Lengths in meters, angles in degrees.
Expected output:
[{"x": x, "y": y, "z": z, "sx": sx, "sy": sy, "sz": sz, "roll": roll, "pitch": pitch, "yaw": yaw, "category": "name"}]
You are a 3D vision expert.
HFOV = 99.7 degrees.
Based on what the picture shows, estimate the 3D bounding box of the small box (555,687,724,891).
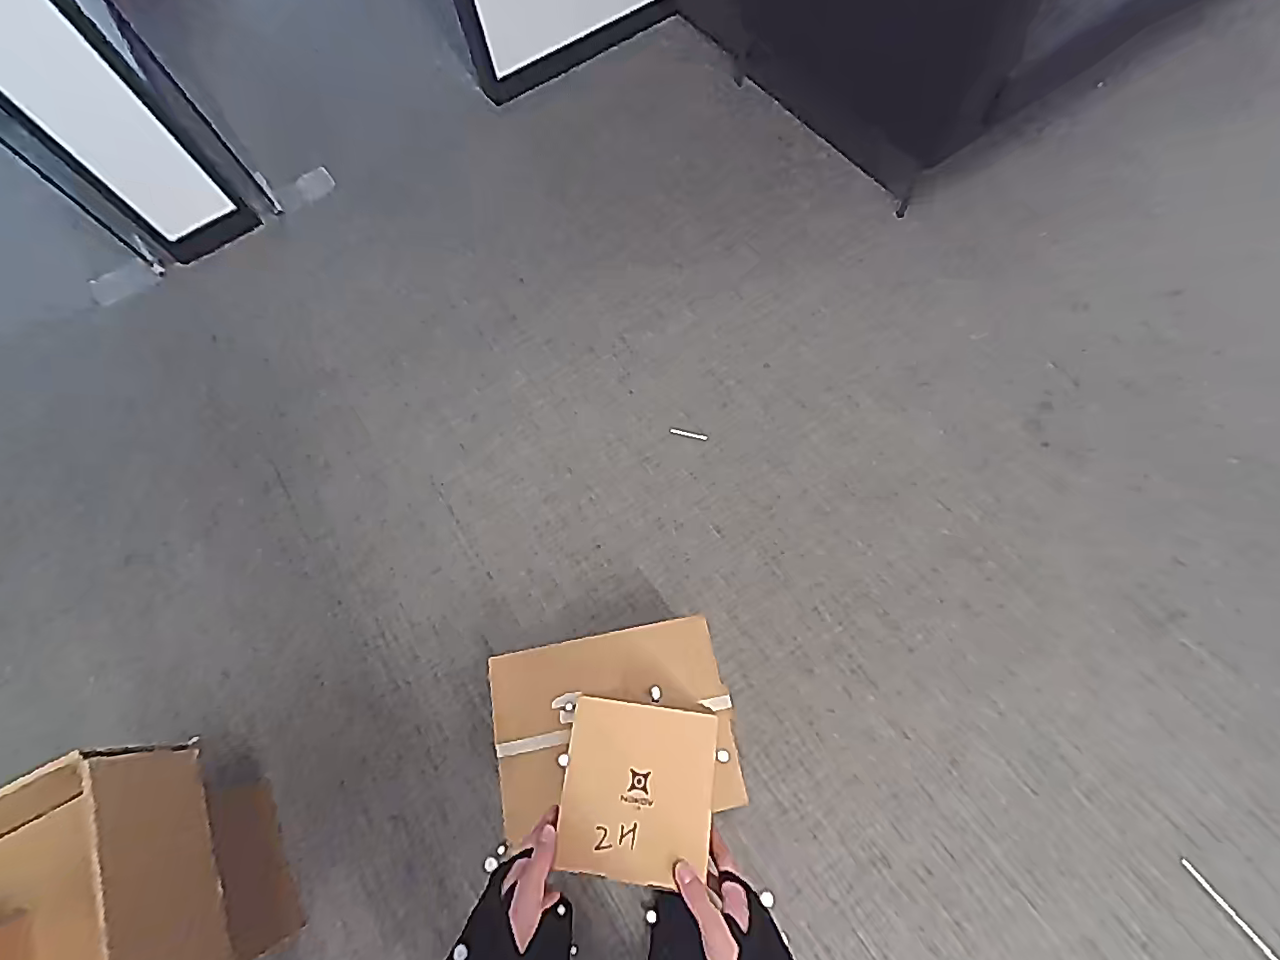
[{"x": 0.006, "y": 0.358, "z": 0.663, "sx": 0.168, "sy": 0.176, "sz": 0.179, "roll": 6, "pitch": 71, "yaw": 6, "category": "small box"}]

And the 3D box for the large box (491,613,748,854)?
[{"x": -0.035, "y": 0.472, "z": 1.063, "sx": 0.408, "sy": 0.320, "sz": 0.320, "roll": -12, "pitch": 68, "yaw": 0, "category": "large box"}]
